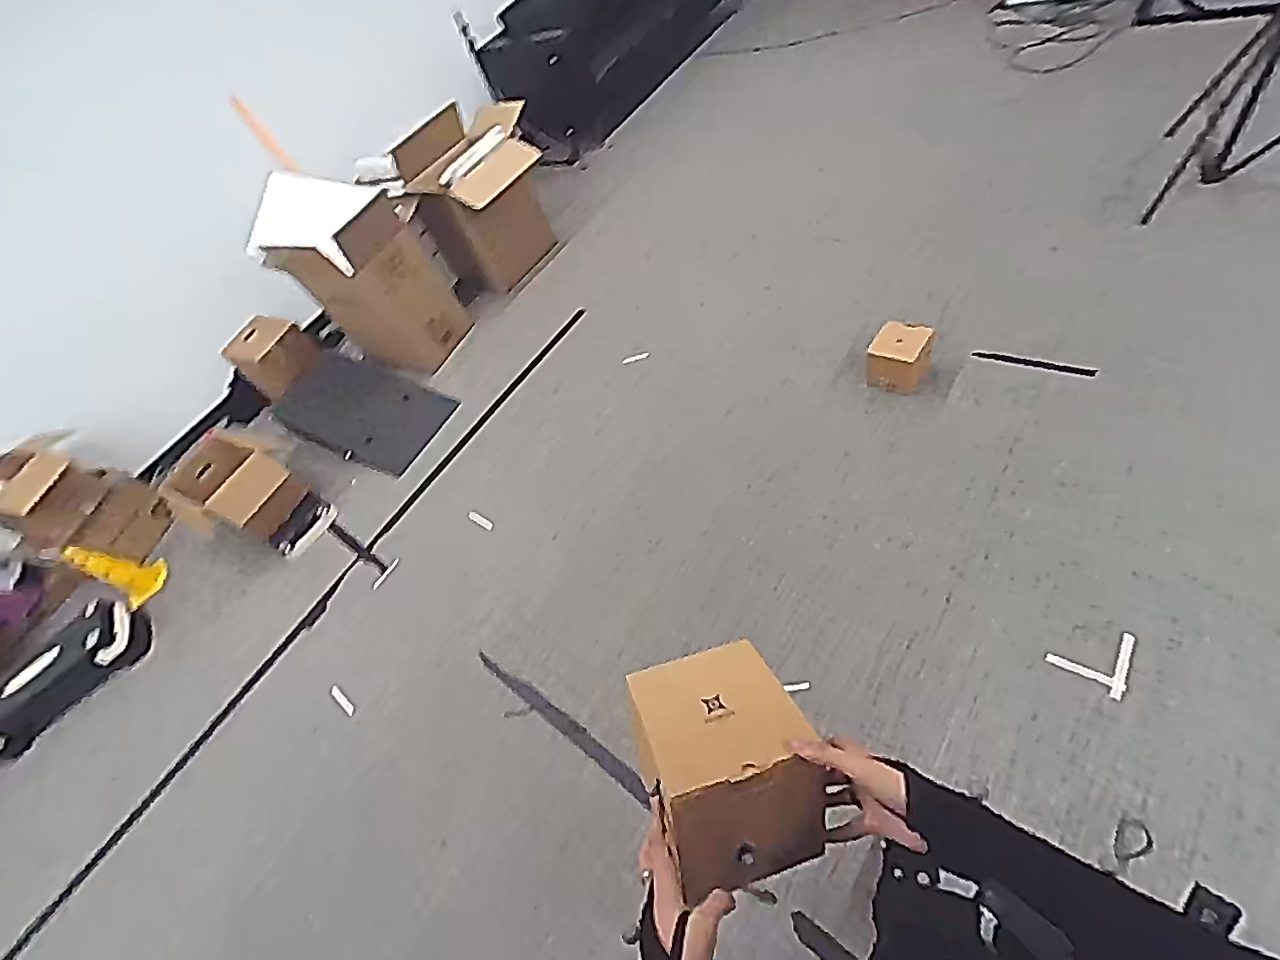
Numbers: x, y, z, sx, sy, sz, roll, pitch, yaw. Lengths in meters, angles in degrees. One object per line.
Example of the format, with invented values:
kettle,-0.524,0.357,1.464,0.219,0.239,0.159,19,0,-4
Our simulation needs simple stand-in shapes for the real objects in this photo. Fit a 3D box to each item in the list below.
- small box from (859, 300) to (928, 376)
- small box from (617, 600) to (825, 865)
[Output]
small box,0.892,-0.502,1.917,0.168,0.176,0.179,25,68,34
small box,0.079,0.264,0.592,0.168,0.176,0.179,-12,25,-13
